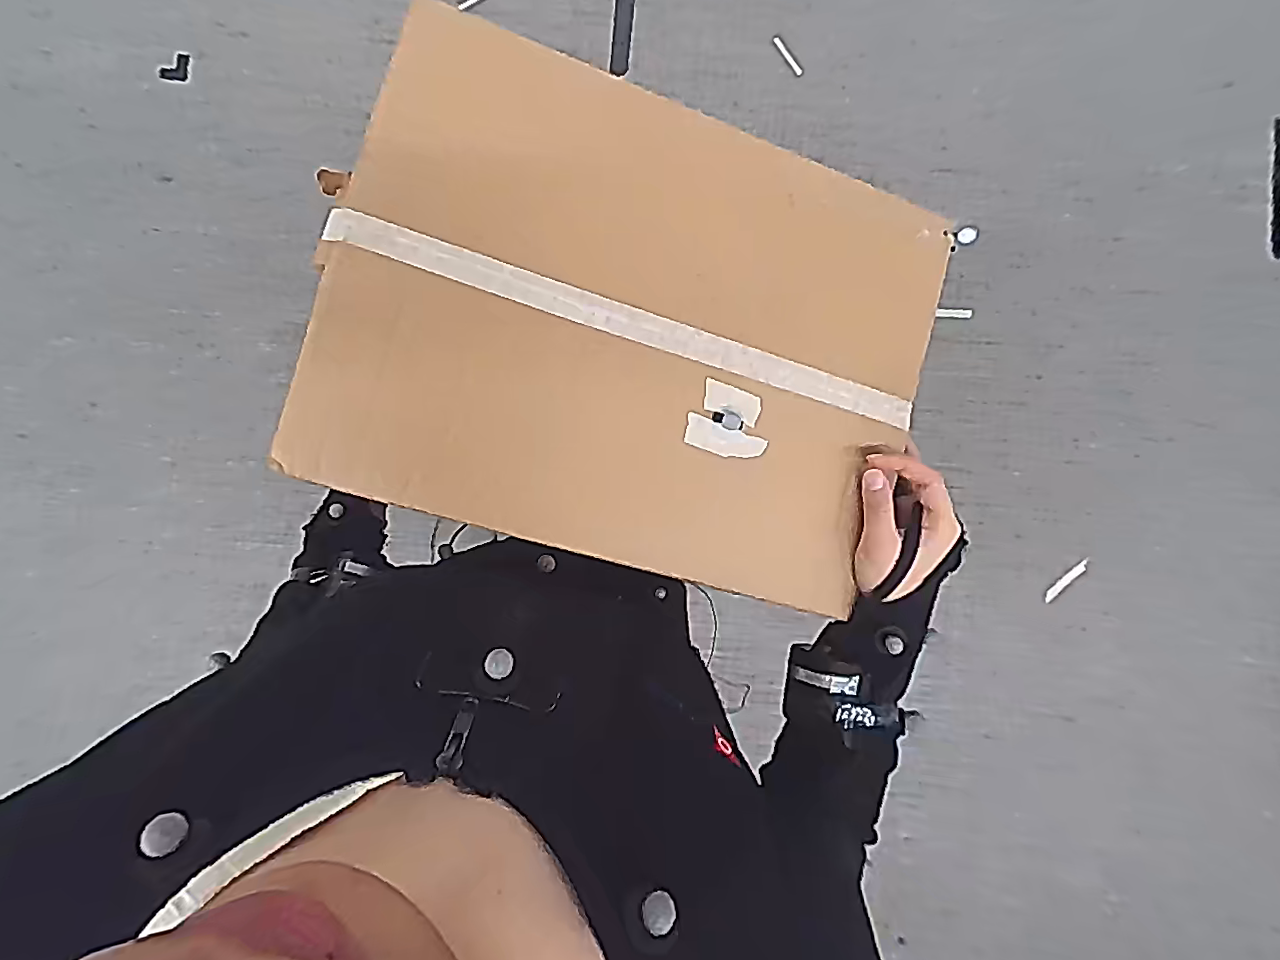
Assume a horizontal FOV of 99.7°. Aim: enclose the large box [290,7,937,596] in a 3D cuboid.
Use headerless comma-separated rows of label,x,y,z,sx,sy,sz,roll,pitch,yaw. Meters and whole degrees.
large box,-0.023,-0.108,0.519,0.408,0.320,0.320,16,88,-12
